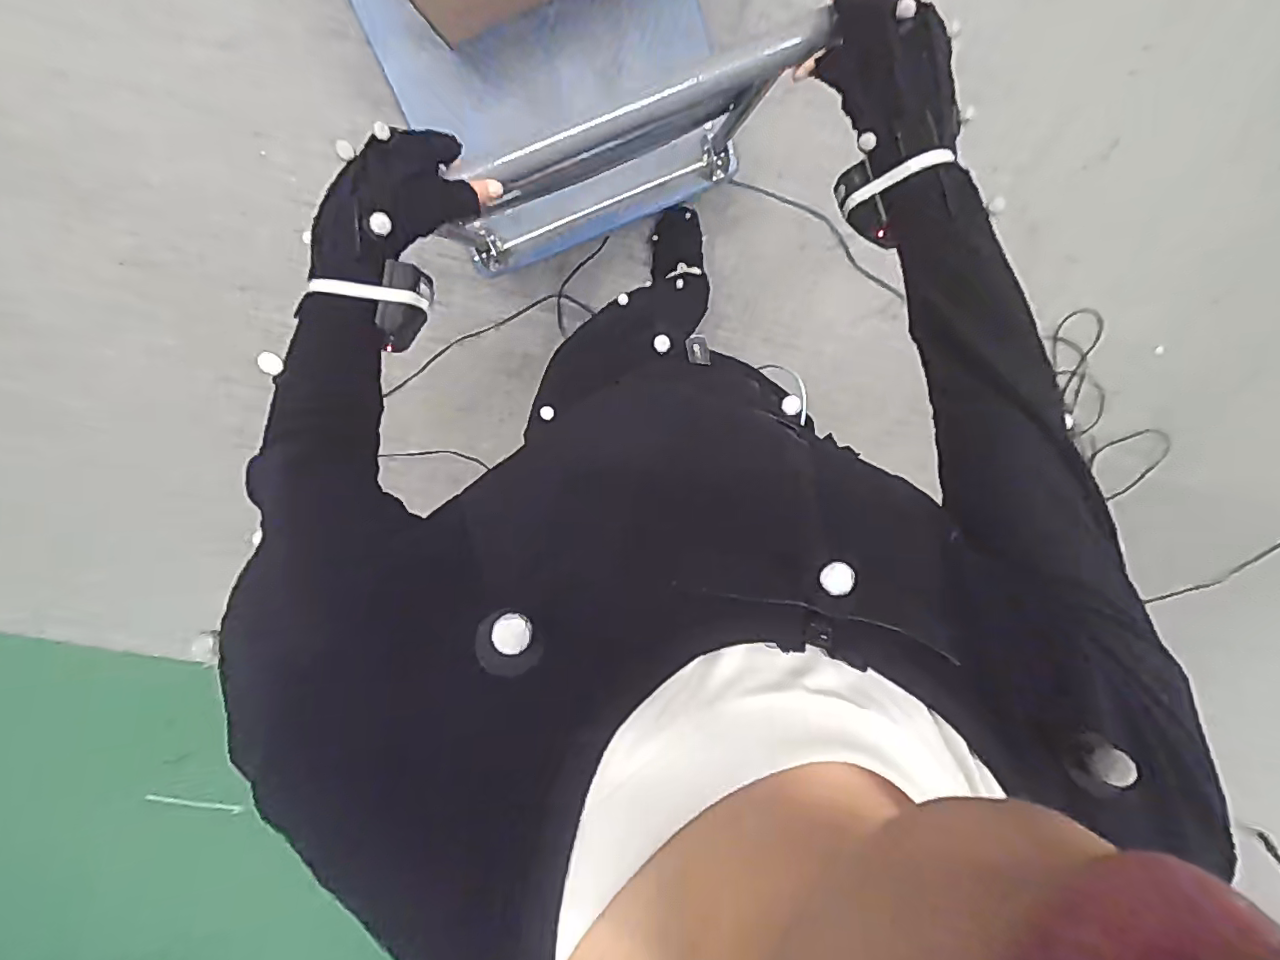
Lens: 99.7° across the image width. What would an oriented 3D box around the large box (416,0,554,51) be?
[{"bbox_3d":[-0.196,-0.910,0.760,0.408,0.320,0.320,-23,113,7],"label":"large box"}]
